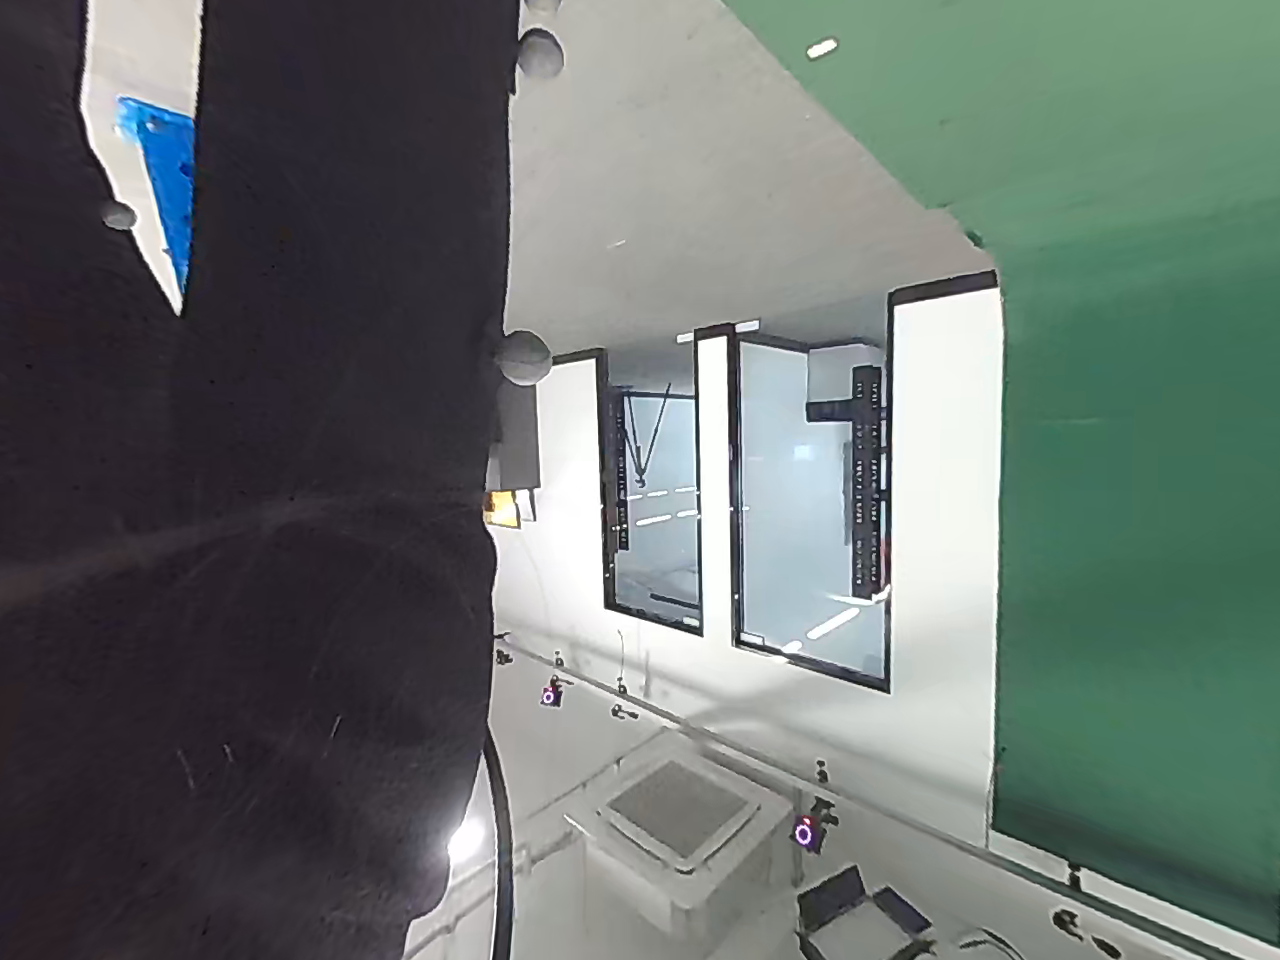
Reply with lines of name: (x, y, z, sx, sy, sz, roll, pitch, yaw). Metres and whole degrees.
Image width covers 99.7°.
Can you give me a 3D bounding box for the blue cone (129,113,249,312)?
blue cone: (-0.970, -0.565, 1.185, 0.193, 0.380, 0.192, 2, -174, 43)
